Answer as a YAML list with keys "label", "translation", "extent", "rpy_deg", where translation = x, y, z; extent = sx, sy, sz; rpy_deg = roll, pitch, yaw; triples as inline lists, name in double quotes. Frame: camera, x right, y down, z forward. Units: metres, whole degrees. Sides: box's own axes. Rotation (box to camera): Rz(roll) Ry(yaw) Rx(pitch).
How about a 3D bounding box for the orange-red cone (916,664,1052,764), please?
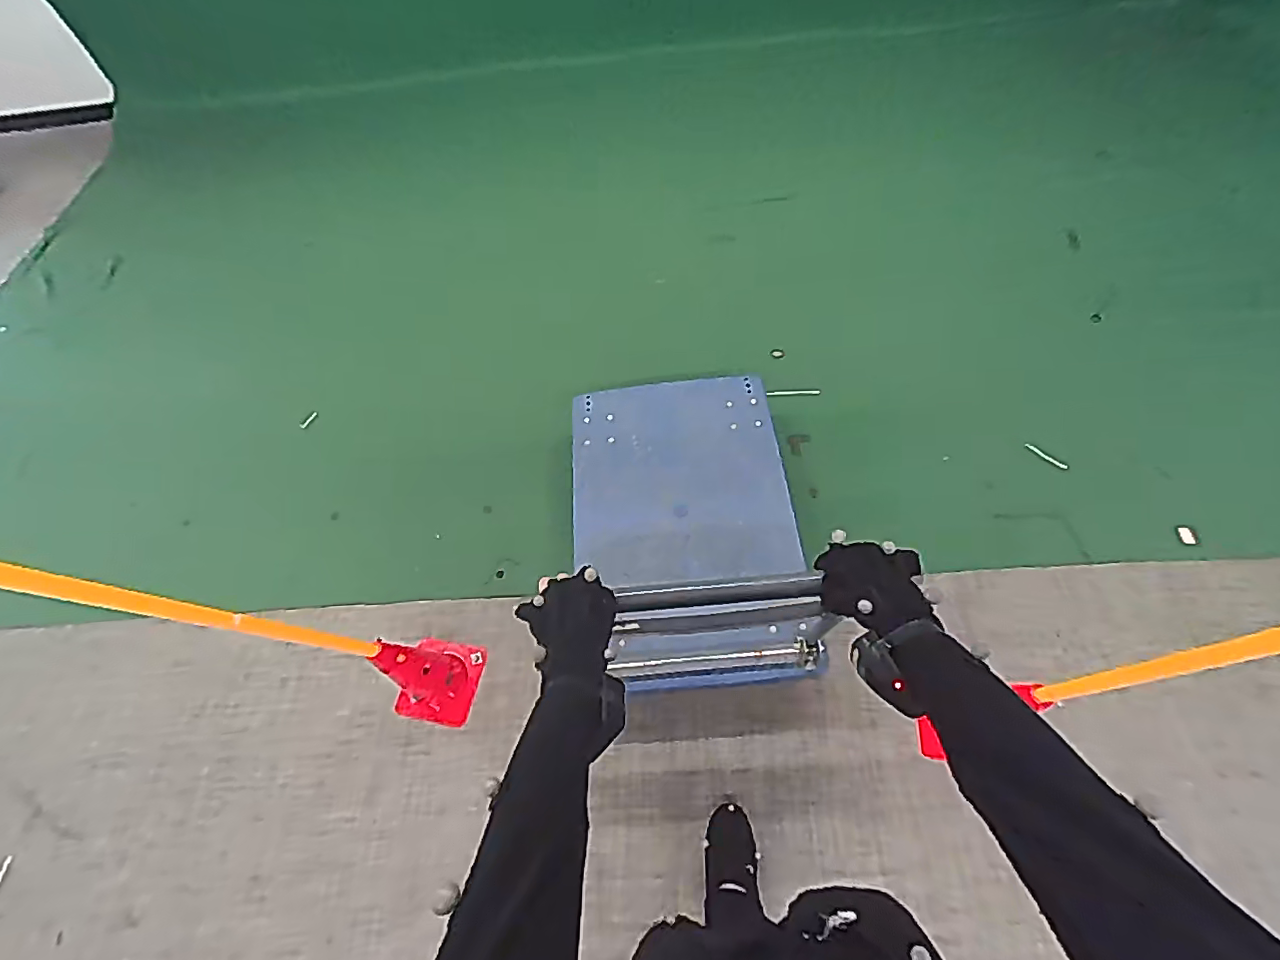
- label: "orange-red cone"
  translation: [0.743, 0.467, 1.128]
  extent: [0.198, 0.360, 0.199]
  rpy_deg: [6, 63, 10]
